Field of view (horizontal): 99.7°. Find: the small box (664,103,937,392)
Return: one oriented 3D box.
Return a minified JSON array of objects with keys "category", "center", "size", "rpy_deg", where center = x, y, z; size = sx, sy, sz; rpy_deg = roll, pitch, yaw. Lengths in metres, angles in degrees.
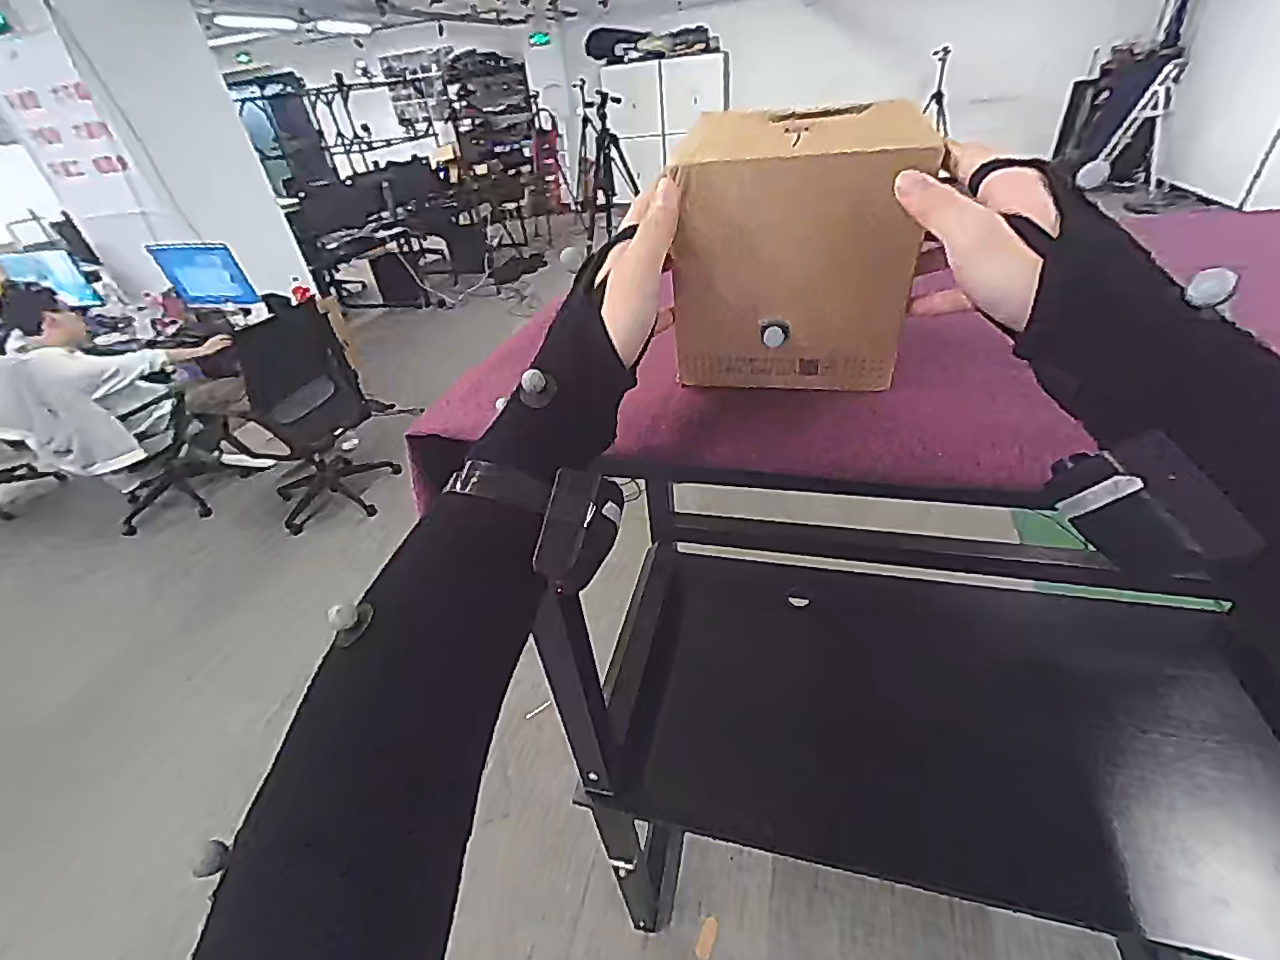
[{"category":"small box","center":[0.120,-0.191,0.441],"size":[0.168,0.176,0.179],"rpy_deg":[4,41,14]}]
